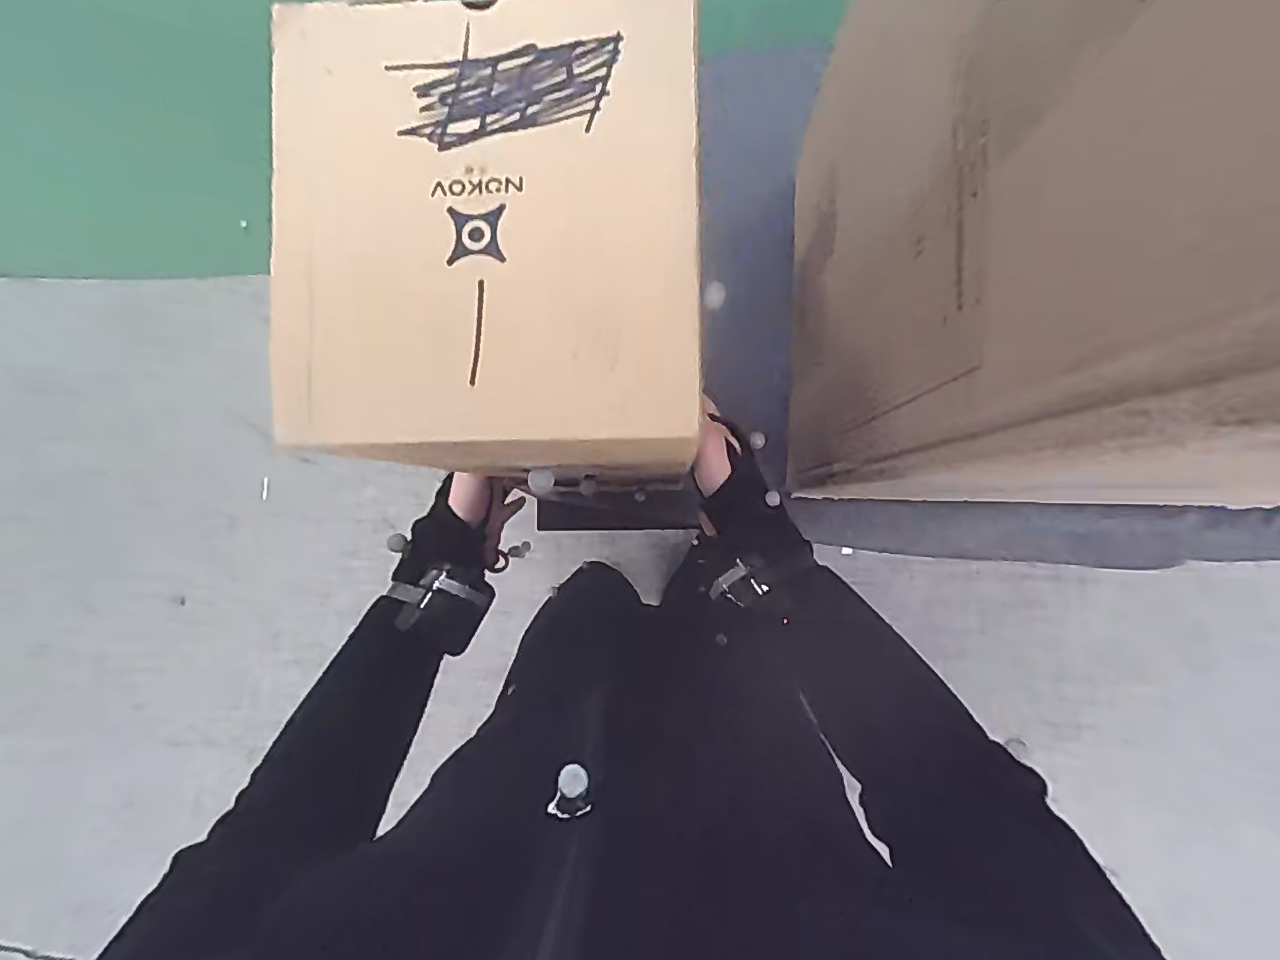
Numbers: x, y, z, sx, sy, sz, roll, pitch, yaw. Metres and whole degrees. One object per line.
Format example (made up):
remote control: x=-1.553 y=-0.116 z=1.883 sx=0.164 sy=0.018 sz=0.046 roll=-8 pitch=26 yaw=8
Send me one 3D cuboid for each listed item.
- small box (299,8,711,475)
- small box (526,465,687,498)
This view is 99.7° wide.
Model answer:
small box: x=-0.050 y=-0.097 z=0.296 sx=0.168 sy=0.176 sz=0.179 roll=-2 pitch=87 yaw=5
small box: x=-0.030 y=-0.069 z=0.624 sx=0.168 sy=0.176 sz=0.179 roll=-2 pitch=84 yaw=4
